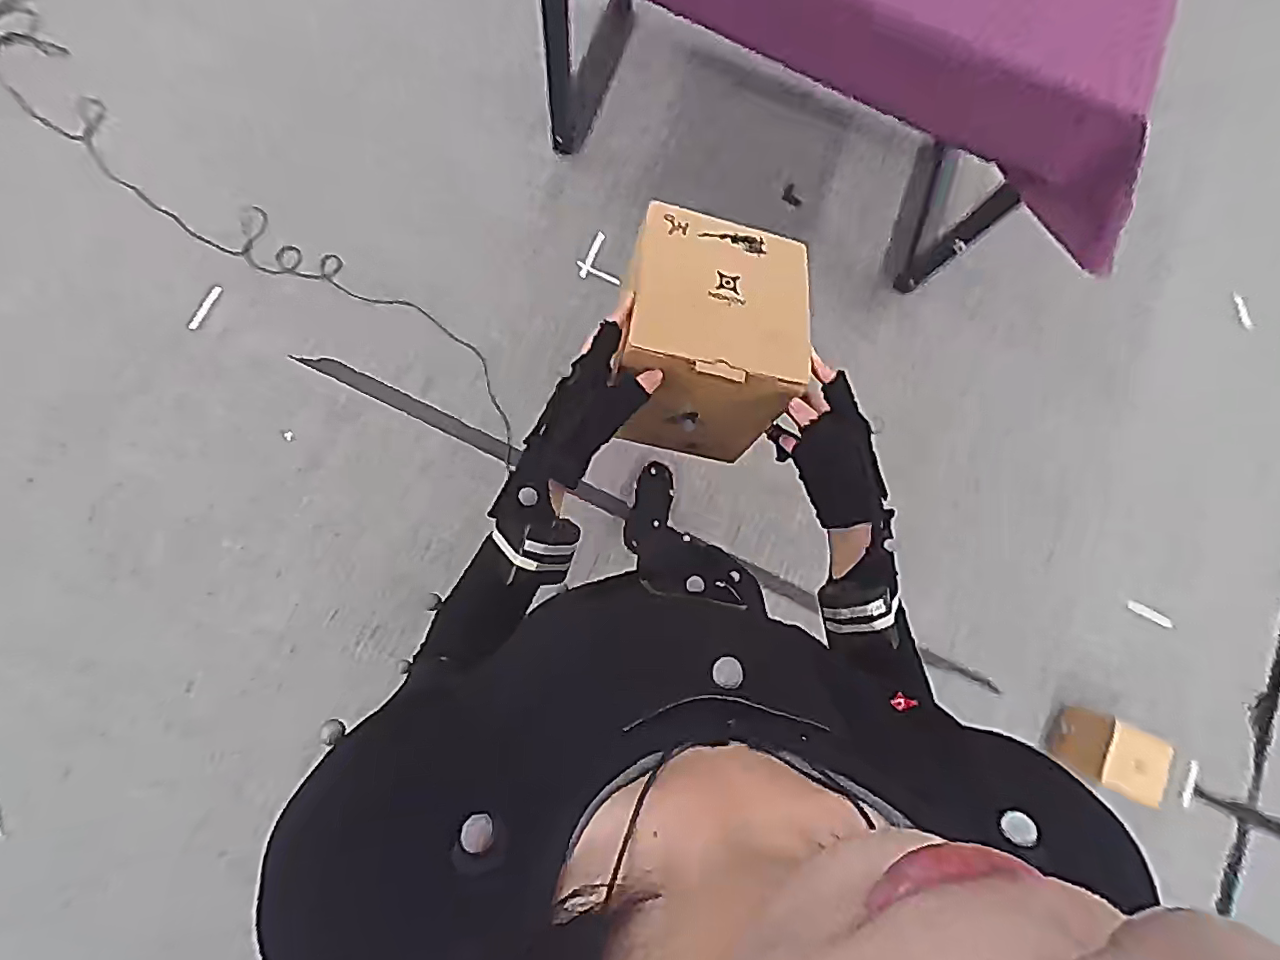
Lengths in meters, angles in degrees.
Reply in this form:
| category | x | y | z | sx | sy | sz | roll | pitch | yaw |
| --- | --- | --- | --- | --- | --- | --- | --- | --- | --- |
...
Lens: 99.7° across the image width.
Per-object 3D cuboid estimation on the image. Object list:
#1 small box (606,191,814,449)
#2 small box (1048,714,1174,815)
| category | x | y | z | sx | sy | sz | roll | pitch | yaw |
| --- | --- | --- | --- | --- | --- | --- | --- | --- | --- |
| small box | 0.064 | -0.151 | 0.564 | 0.168 | 0.176 | 0.179 | 11 | 67 | -11 |
| small box | 1.282 | 0.768 | 1.481 | 0.179 | 0.176 | 0.168 | 25 | 80 | -1 |
